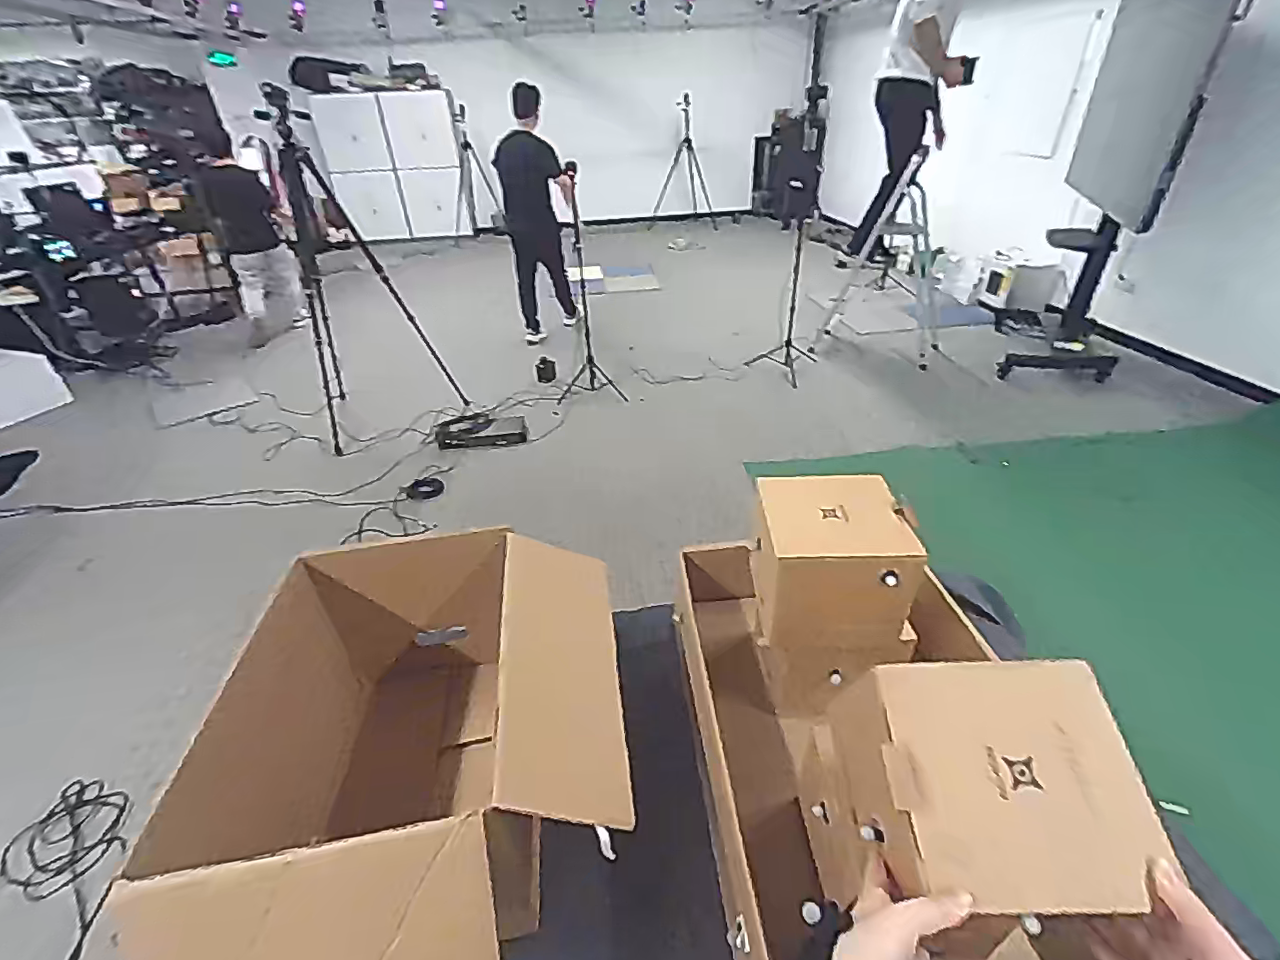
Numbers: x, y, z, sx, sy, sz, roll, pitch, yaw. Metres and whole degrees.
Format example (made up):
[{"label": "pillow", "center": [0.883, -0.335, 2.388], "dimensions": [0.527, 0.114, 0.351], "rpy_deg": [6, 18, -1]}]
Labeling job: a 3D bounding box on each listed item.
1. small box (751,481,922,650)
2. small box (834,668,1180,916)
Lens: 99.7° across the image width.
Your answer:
[{"label": "small box", "center": [0.251, 0.117, 0.744], "dimensions": [0.179, 0.176, 0.168], "rpy_deg": [-1, 36, 2]}, {"label": "small box", "center": [0.285, 0.271, 0.479], "dimensions": [0.179, 0.176, 0.168], "rpy_deg": [-2, 58, 1]}]
